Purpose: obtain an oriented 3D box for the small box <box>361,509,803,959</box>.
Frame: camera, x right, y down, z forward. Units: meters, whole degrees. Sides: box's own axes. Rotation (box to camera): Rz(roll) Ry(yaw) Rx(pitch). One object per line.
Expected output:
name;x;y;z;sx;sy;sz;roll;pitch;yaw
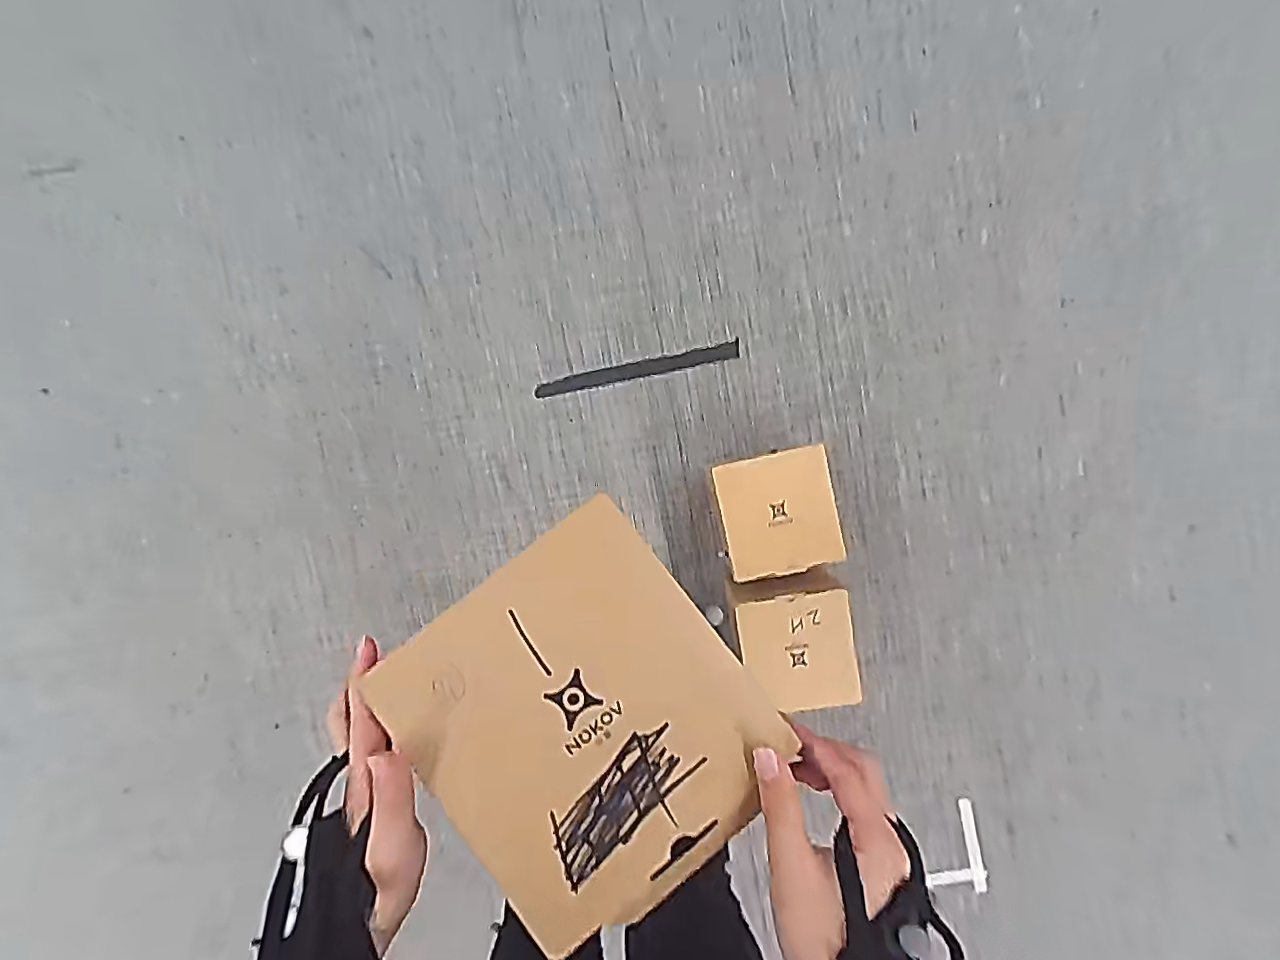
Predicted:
small box;-0.031;0.138;0.358;0.168;0.176;0.179;-38;85;-6
